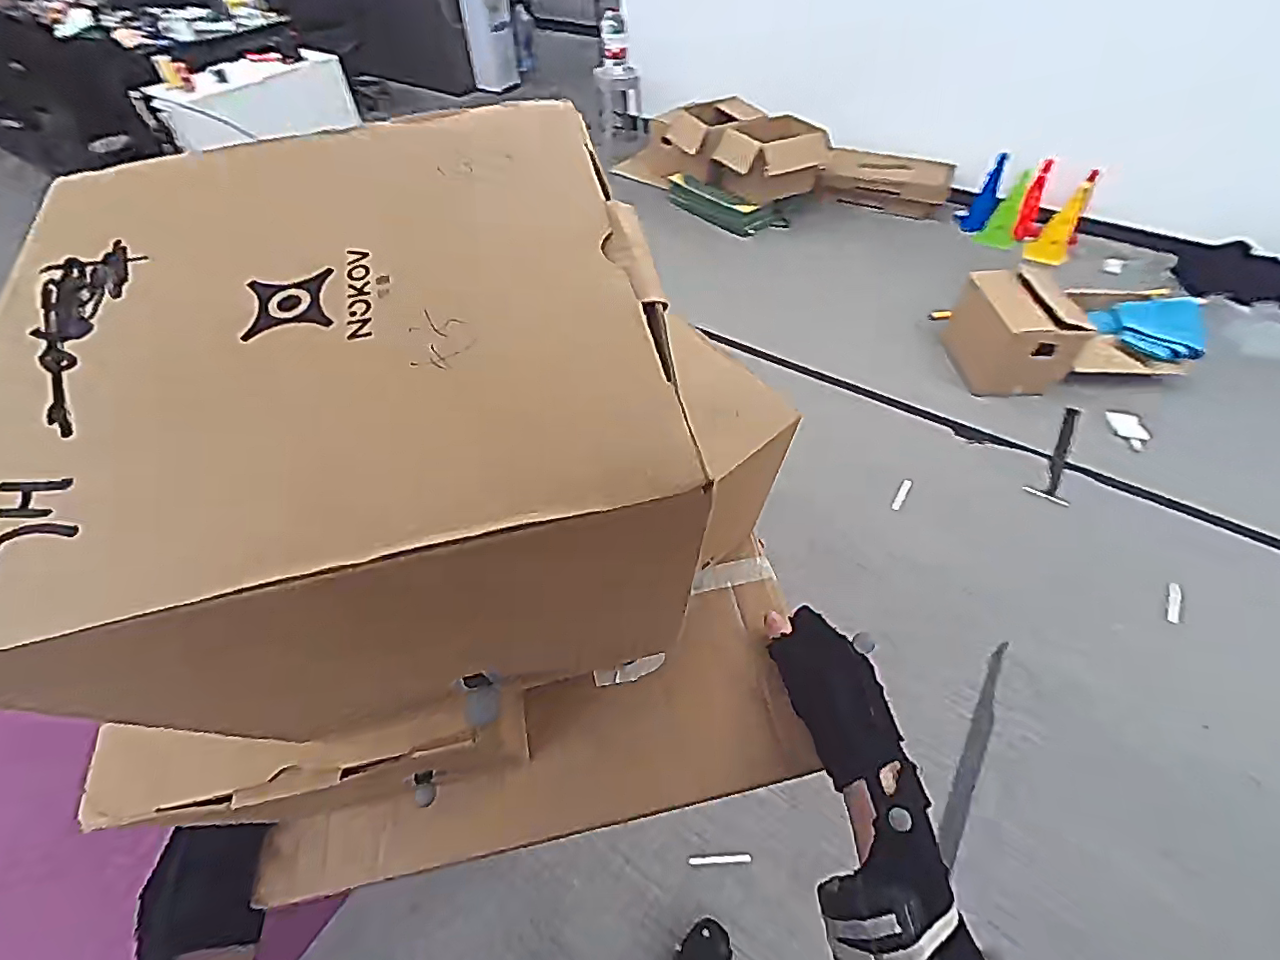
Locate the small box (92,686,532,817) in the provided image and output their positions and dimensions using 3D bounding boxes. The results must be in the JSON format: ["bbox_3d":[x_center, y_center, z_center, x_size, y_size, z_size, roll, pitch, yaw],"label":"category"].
[{"bbox_3d":[-0.167,0.095,0.344,0.168,0.176,0.179,-9,59,-8],"label":"small box"}]

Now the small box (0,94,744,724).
[{"bbox_3d":[-0.078,-0.013,0.218,0.179,0.176,0.168,-12,61,-6],"label":"small box"}]

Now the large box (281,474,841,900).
[{"bbox_3d":[-0.078,0.184,0.575,0.408,0.320,0.320,-10,61,-7],"label":"large box"}]
